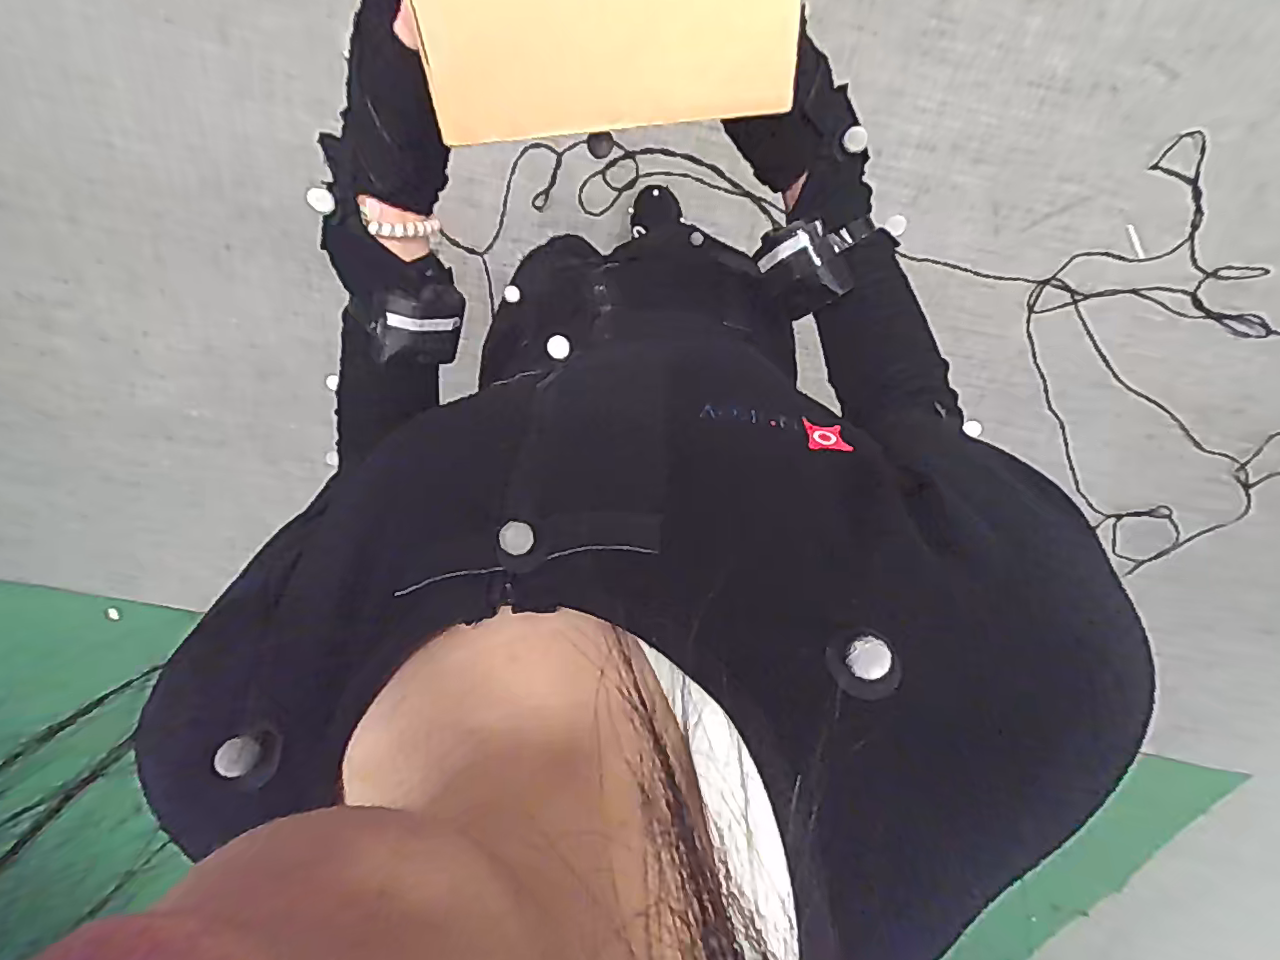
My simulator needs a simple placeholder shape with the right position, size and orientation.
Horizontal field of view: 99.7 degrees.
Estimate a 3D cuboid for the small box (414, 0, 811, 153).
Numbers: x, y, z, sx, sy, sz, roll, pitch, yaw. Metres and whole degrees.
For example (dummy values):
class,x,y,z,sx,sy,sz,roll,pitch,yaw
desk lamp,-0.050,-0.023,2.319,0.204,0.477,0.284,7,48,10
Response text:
class,x,y,z,sx,sy,sz,roll,pitch,yaw
small box,-0.023,-0.282,0.274,0.179,0.176,0.168,-9,130,-4
